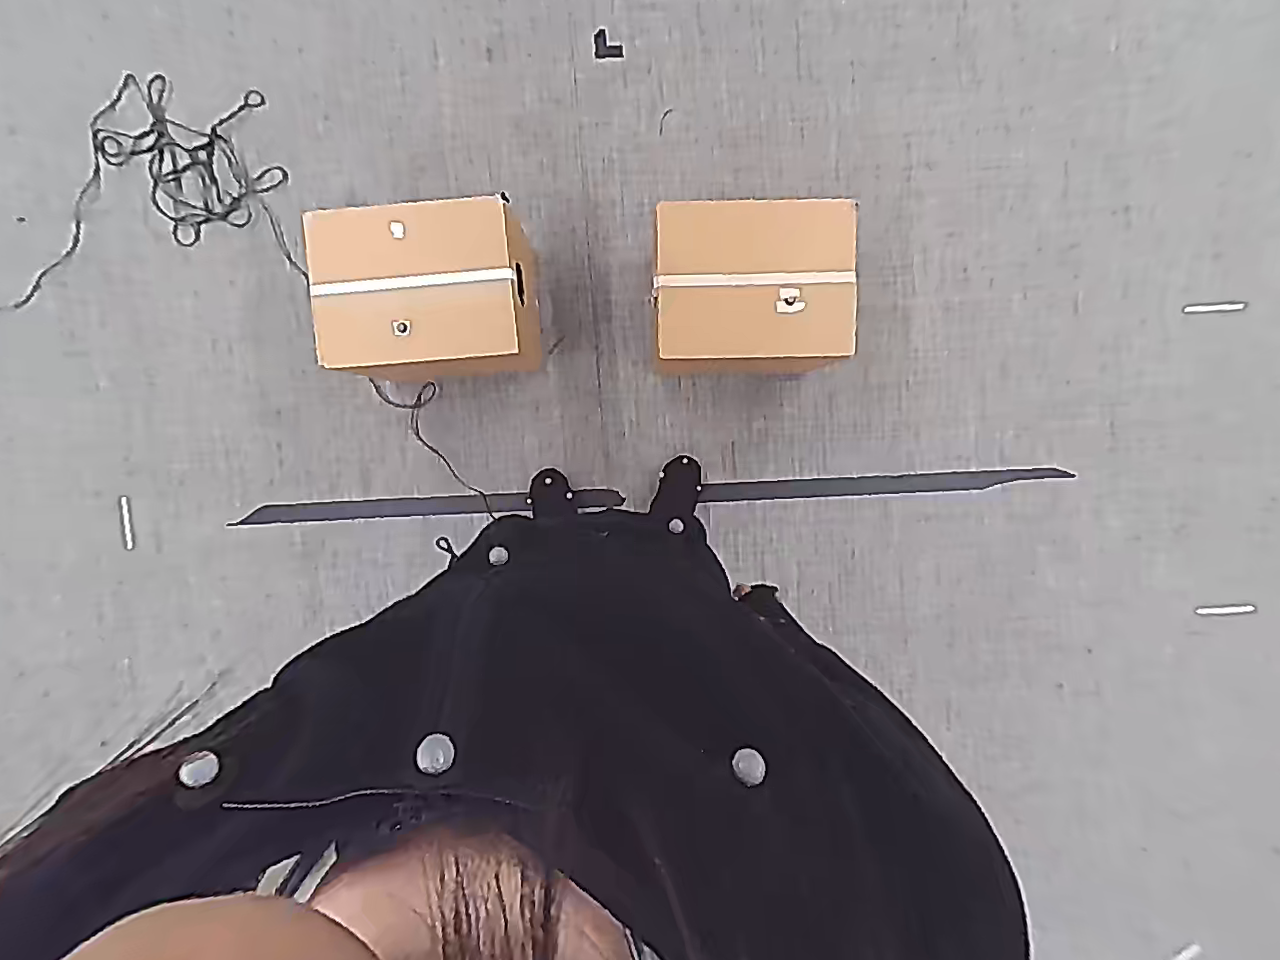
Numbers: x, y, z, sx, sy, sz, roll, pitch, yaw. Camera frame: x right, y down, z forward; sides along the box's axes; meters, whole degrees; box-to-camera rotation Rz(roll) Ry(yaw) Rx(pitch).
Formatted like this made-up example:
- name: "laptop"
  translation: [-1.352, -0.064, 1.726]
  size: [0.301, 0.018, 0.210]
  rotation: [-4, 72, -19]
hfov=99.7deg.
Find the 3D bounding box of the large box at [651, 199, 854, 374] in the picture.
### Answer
- name: "large box"
  translation: [0.234, -0.423, 1.251]
  size: [0.408, 0.320, 0.320]
  rotation: [-1, 95, -1]
